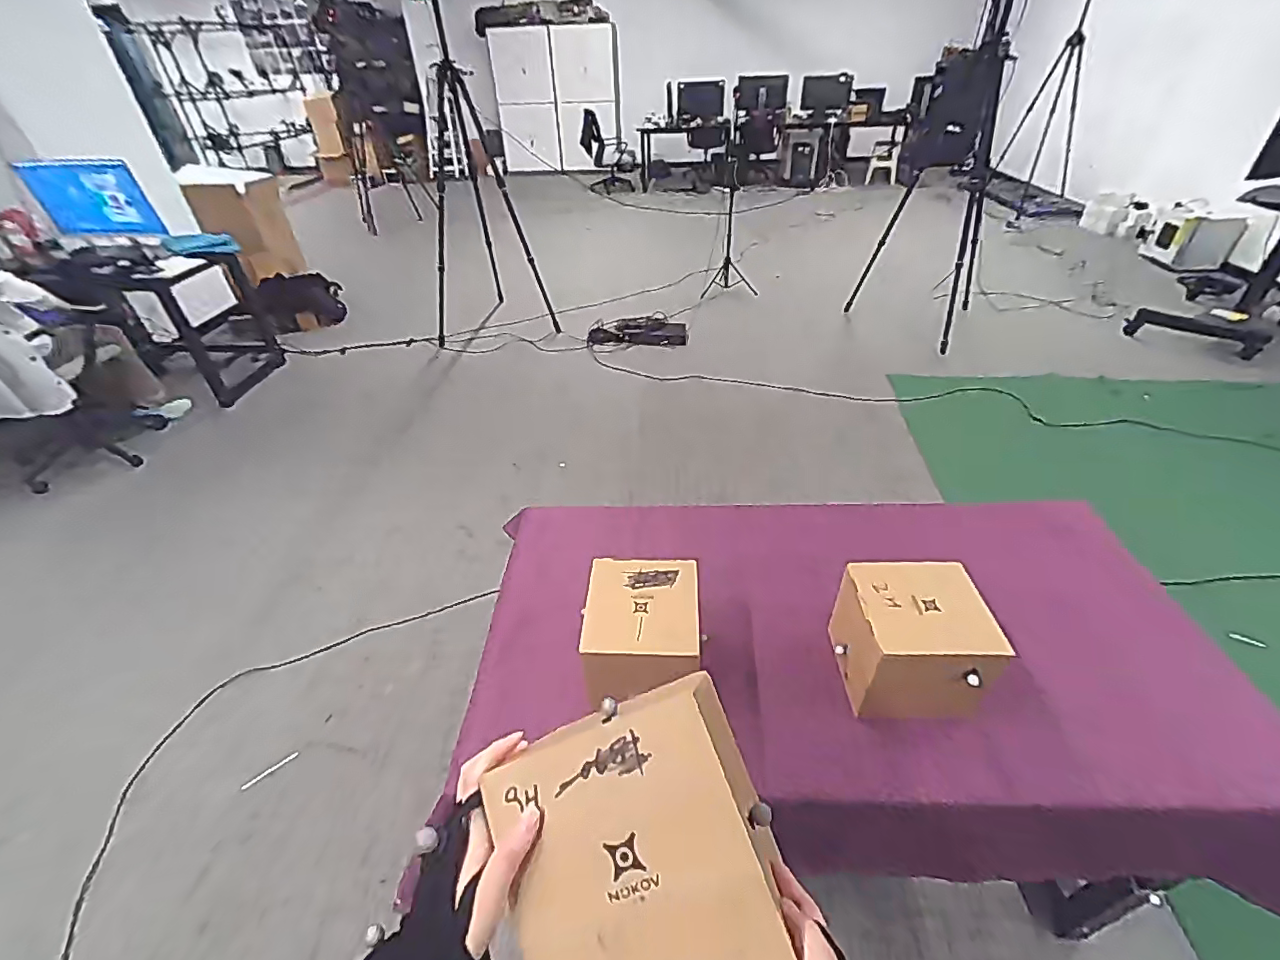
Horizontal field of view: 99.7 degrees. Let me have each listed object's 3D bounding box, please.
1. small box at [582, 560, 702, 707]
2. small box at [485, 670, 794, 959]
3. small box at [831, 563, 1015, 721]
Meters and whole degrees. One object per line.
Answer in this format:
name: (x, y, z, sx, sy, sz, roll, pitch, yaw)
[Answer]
small box: (0.009, 0.246, 0.840, 0.168, 0.176, 0.179, 0, 39, 4)
small box: (0.007, 0.271, 0.432, 0.168, 0.176, 0.179, -23, 74, 4)
small box: (0.407, 0.244, 0.816, 0.179, 0.176, 0.168, -1, 38, 3)
